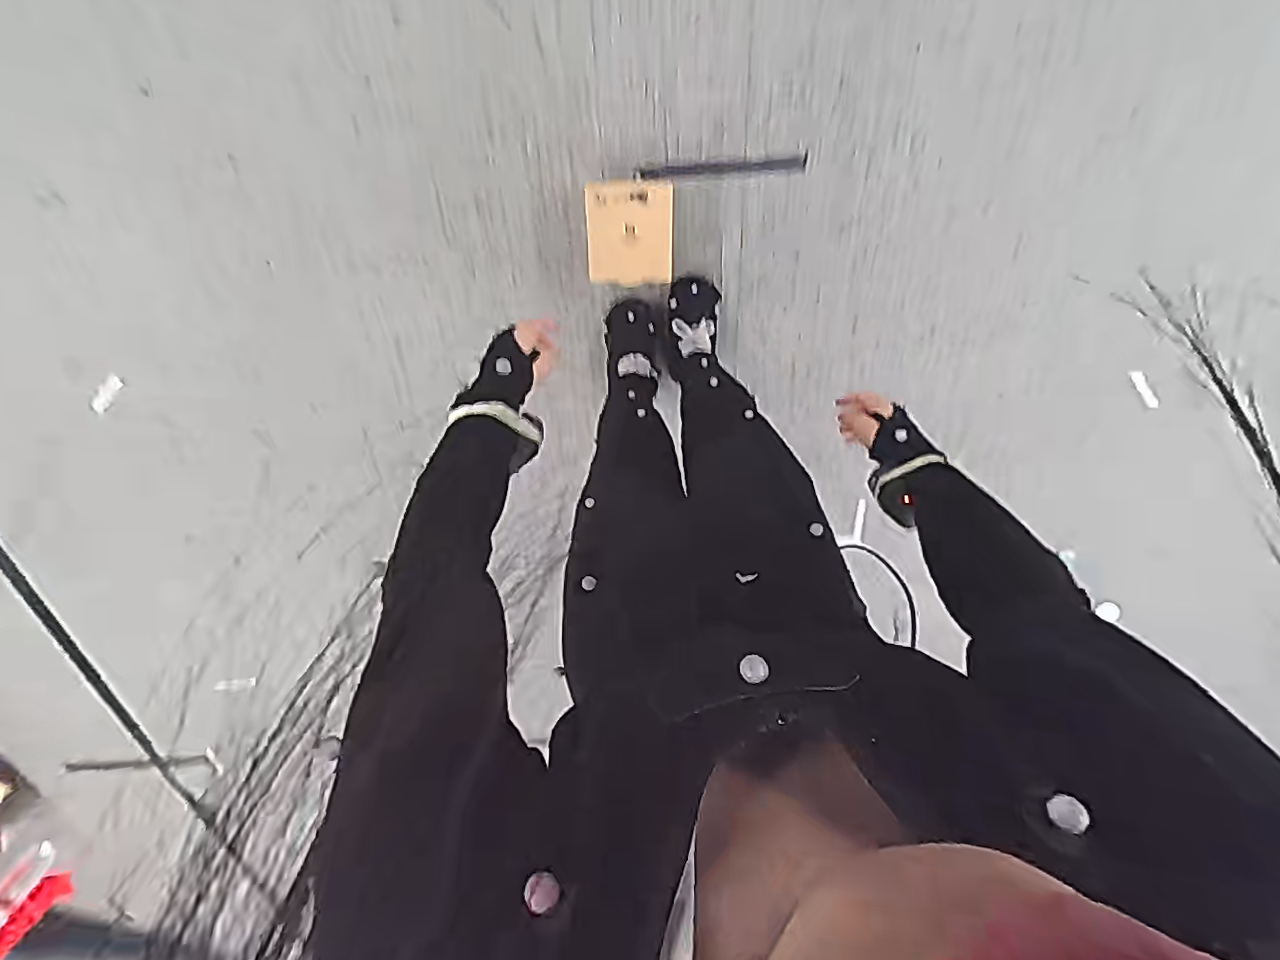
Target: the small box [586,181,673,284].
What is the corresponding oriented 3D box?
[{"bbox_3d":[-0.022,-0.510,1.110,0.168,0.176,0.179,-2,120,-2],"label":"small box"}]
